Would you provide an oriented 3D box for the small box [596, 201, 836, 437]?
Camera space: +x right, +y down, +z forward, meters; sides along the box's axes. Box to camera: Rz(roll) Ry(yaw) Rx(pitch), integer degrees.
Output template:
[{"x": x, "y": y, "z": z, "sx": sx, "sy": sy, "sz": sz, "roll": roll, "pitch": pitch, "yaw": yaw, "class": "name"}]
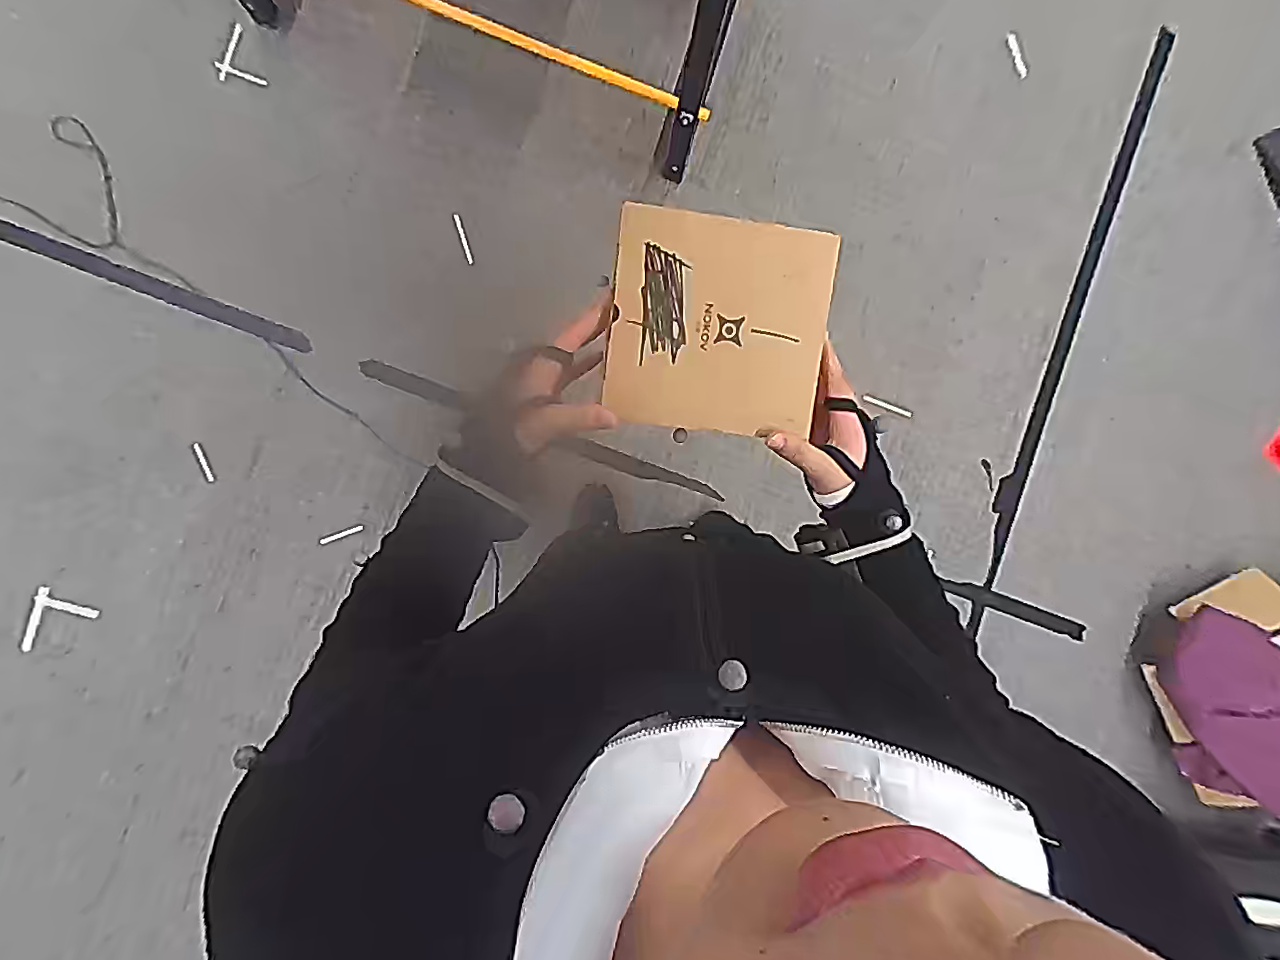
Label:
[{"x": 0.052, "y": -0.134, "z": 0.504, "sx": 0.179, "sy": 0.176, "sz": 0.168, "roll": 5, "pitch": 98, "yaw": -7, "class": "small box"}]
